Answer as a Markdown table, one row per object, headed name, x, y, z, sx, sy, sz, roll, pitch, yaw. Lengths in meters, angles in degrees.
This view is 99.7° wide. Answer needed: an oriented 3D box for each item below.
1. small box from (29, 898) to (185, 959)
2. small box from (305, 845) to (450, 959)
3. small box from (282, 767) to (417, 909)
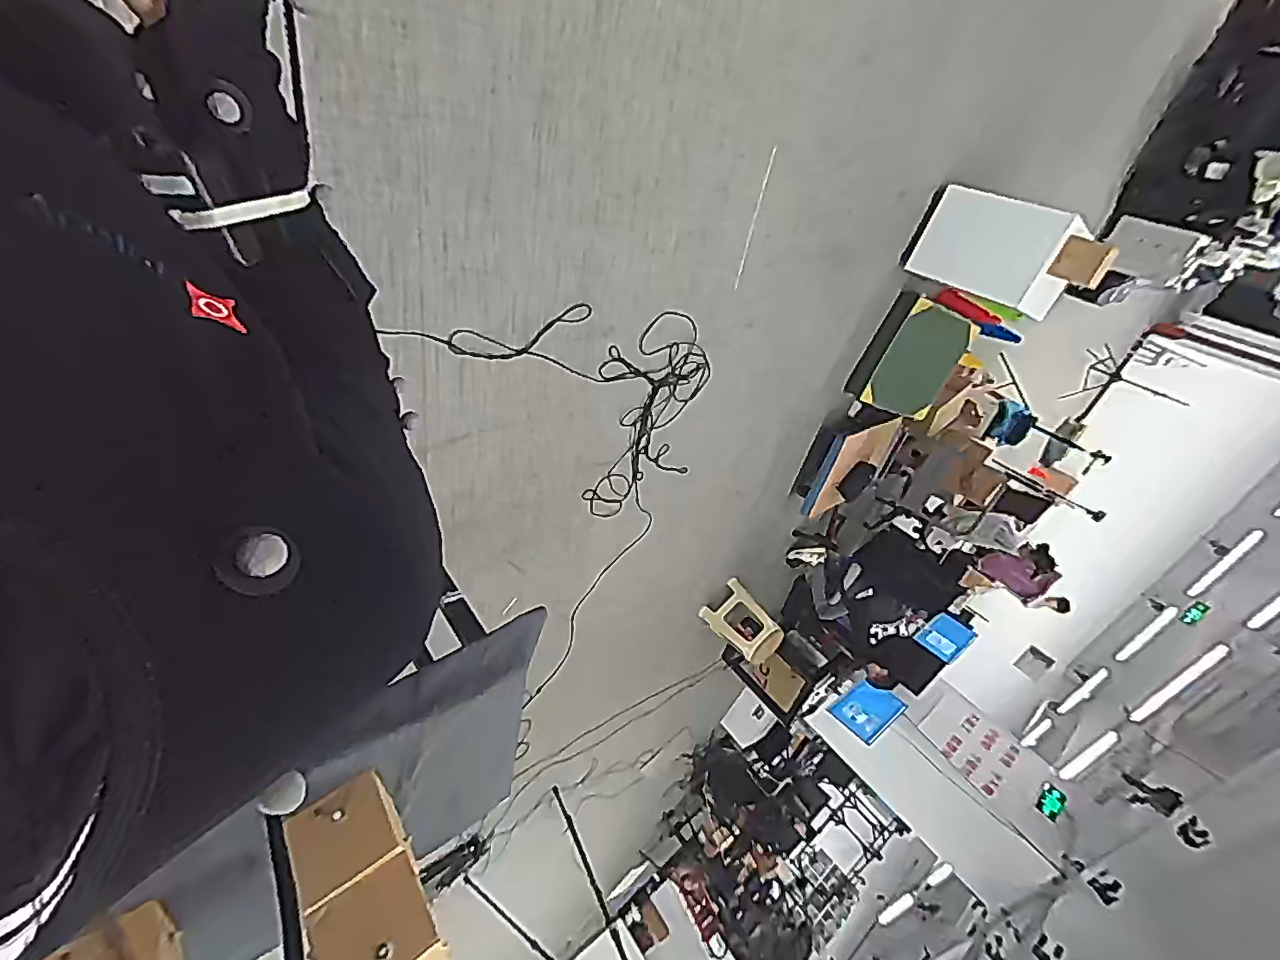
| name | x | y | z | sx | sy | sz | roll | pitch | yaw |
| --- | --- | --- | --- | --- | --- | --- | --- | --- | --- |
| small box | -0.835 | 0.811 | 0.848 | 0.168 | 0.176 | 0.179 | -17 | 135 | -38 |
| small box | -0.461 | 0.799 | 0.959 | 0.179 | 0.176 | 0.168 | -22 | 136 | -32 |
| small box | -0.556 | 0.697 | 1.043 | 0.168 | 0.176 | 0.179 | -26 | 139 | -30 |
